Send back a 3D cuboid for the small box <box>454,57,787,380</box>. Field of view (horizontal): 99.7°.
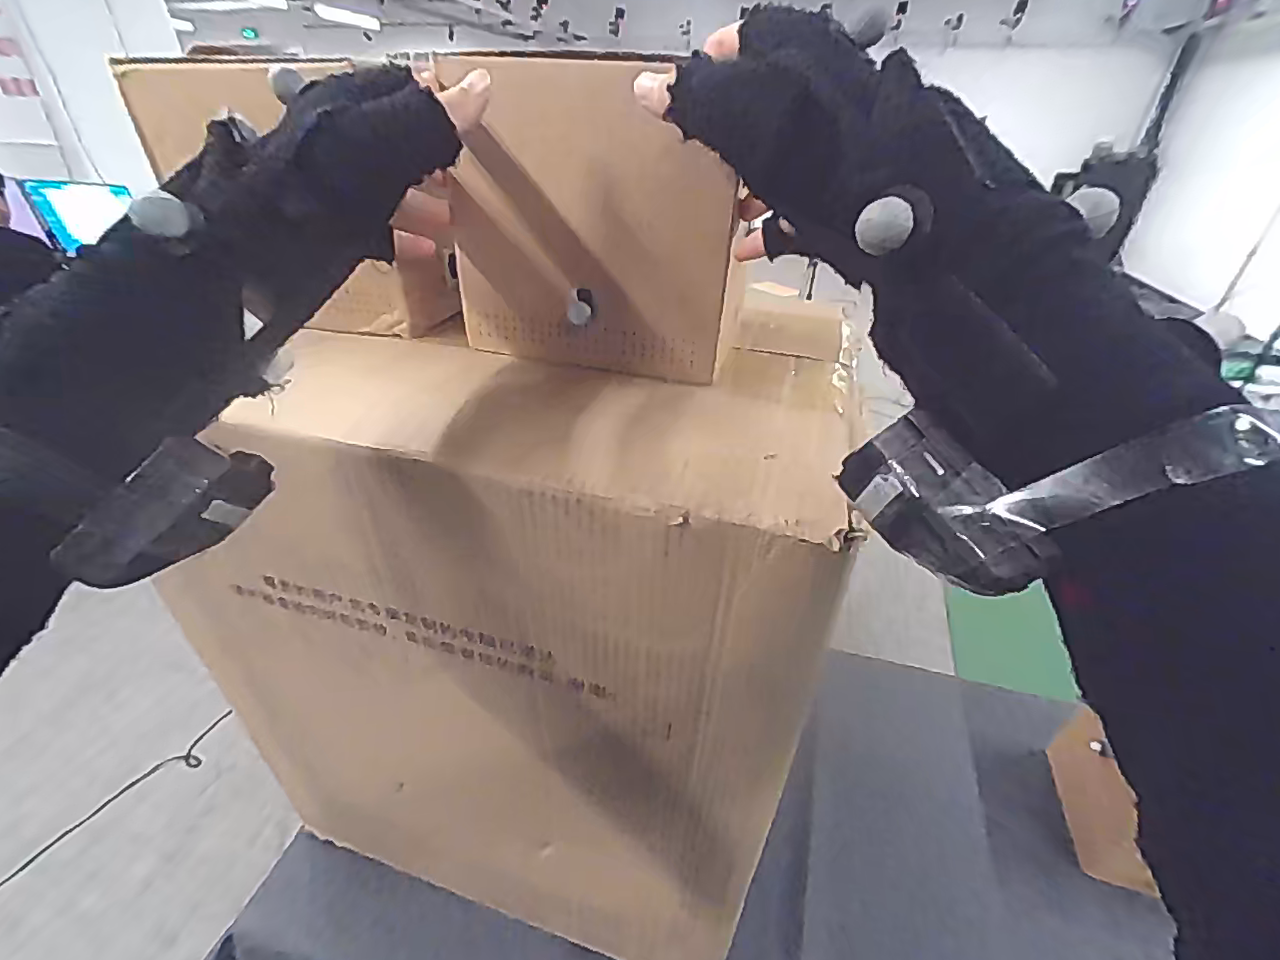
[{"bbox_3d":[-0.004,-0.184,0.388,0.179,0.176,0.168,12,34,11],"label":"small box"}]

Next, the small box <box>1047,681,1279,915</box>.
[{"bbox_3d":[0.664,0.400,0.692,0.168,0.176,0.179,11,35,15],"label":"small box"}]

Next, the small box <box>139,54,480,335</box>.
[{"bbox_3d":[-0.218,-0.227,0.434,0.179,0.176,0.168,9,36,10],"label":"small box"}]
